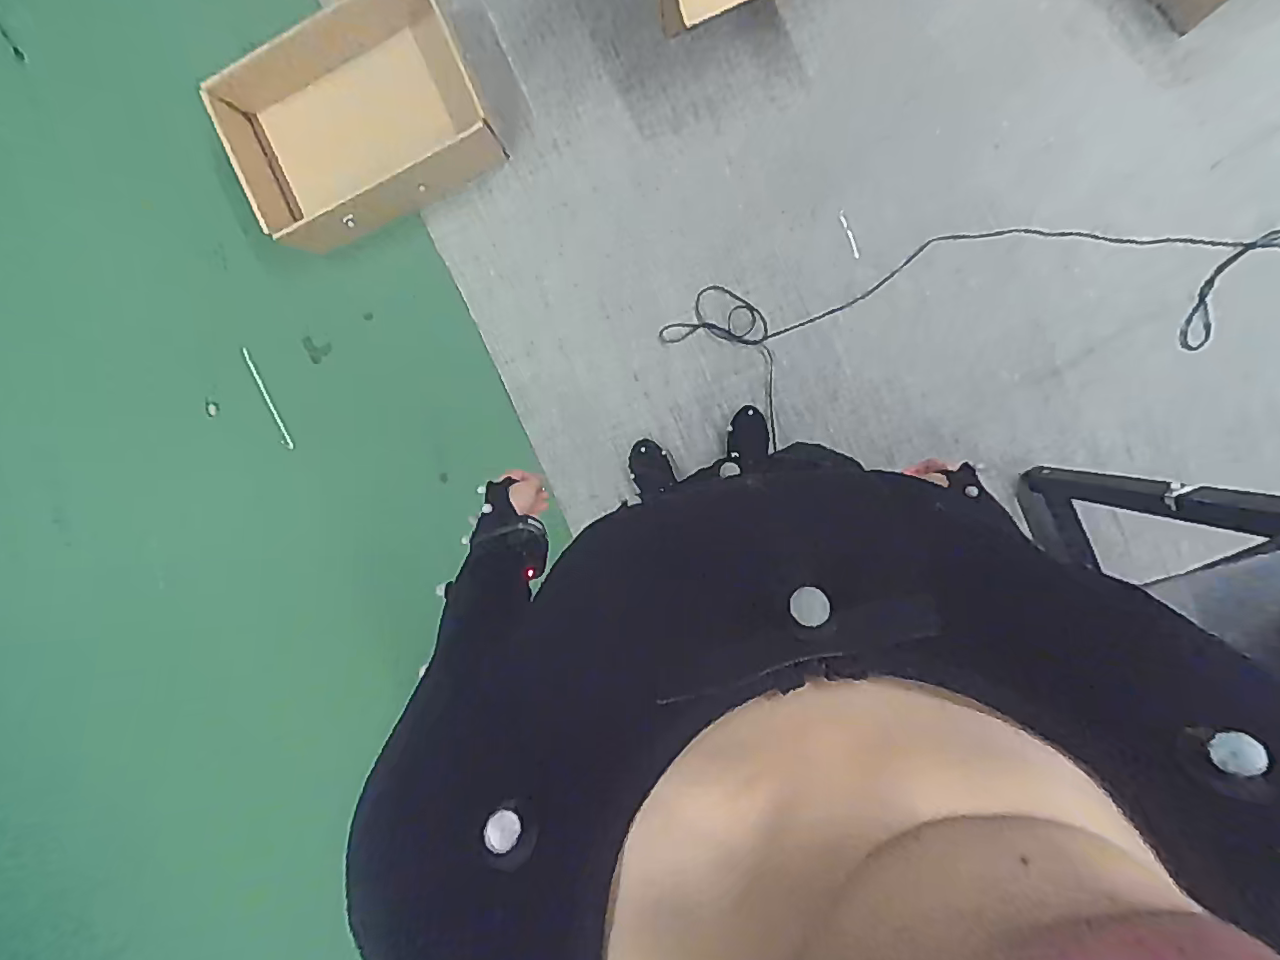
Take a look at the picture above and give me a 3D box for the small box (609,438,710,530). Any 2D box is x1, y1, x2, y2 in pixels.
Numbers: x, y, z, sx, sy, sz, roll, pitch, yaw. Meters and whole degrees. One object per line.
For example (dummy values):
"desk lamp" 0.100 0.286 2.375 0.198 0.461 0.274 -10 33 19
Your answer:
"small box" 0.054 0.012 1.389 0.176 0.168 0.179 30 73 -27
